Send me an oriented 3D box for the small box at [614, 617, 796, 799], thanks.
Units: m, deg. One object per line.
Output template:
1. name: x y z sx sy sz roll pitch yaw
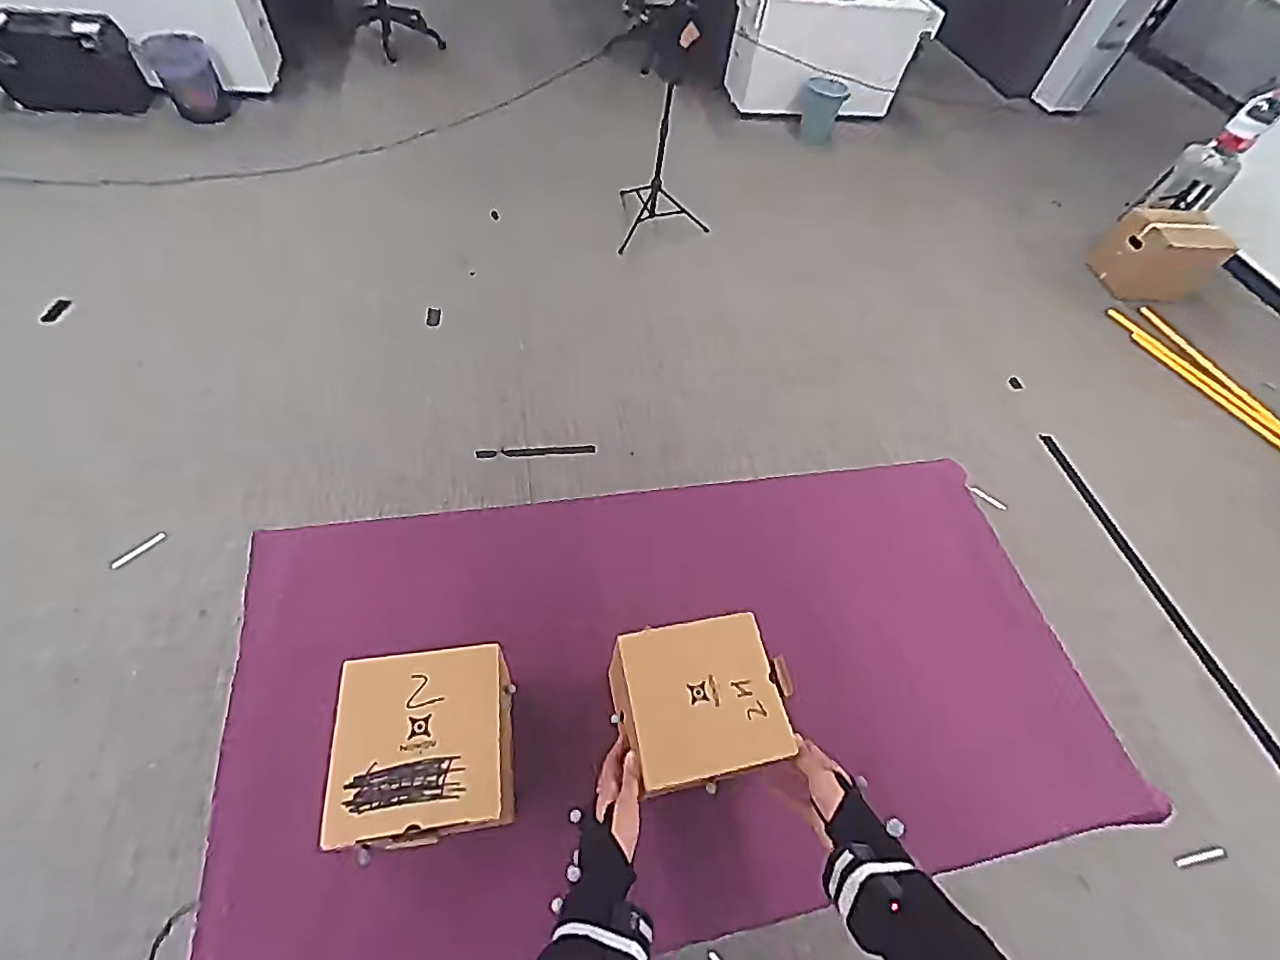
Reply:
1. small box: 0.065 0.292 0.685 0.179 0.176 0.168 -7 59 -12
